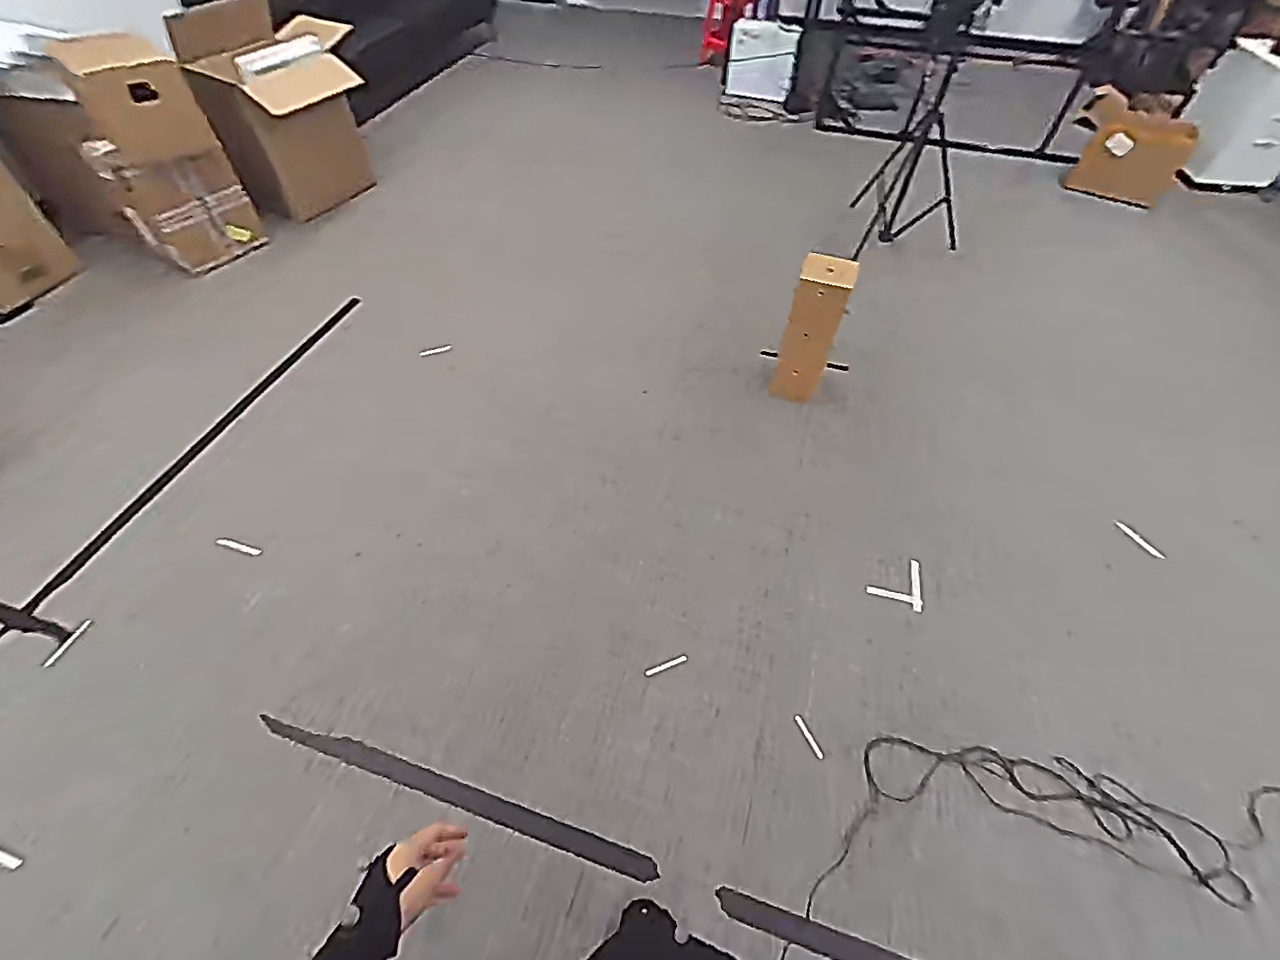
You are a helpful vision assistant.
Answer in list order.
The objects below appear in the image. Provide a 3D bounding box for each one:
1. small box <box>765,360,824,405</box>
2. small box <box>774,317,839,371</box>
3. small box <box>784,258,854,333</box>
[{"bbox_3d":[0.603,-0.416,2.100,0.179,0.176,0.168,18,54,13],"label":"small box"},{"bbox_3d":[0.605,-0.523,1.974,0.179,0.176,0.168,20,56,15],"label":"small box"},{"bbox_3d":[0.607,-0.627,1.850,0.179,0.176,0.168,18,55,13],"label":"small box"}]
